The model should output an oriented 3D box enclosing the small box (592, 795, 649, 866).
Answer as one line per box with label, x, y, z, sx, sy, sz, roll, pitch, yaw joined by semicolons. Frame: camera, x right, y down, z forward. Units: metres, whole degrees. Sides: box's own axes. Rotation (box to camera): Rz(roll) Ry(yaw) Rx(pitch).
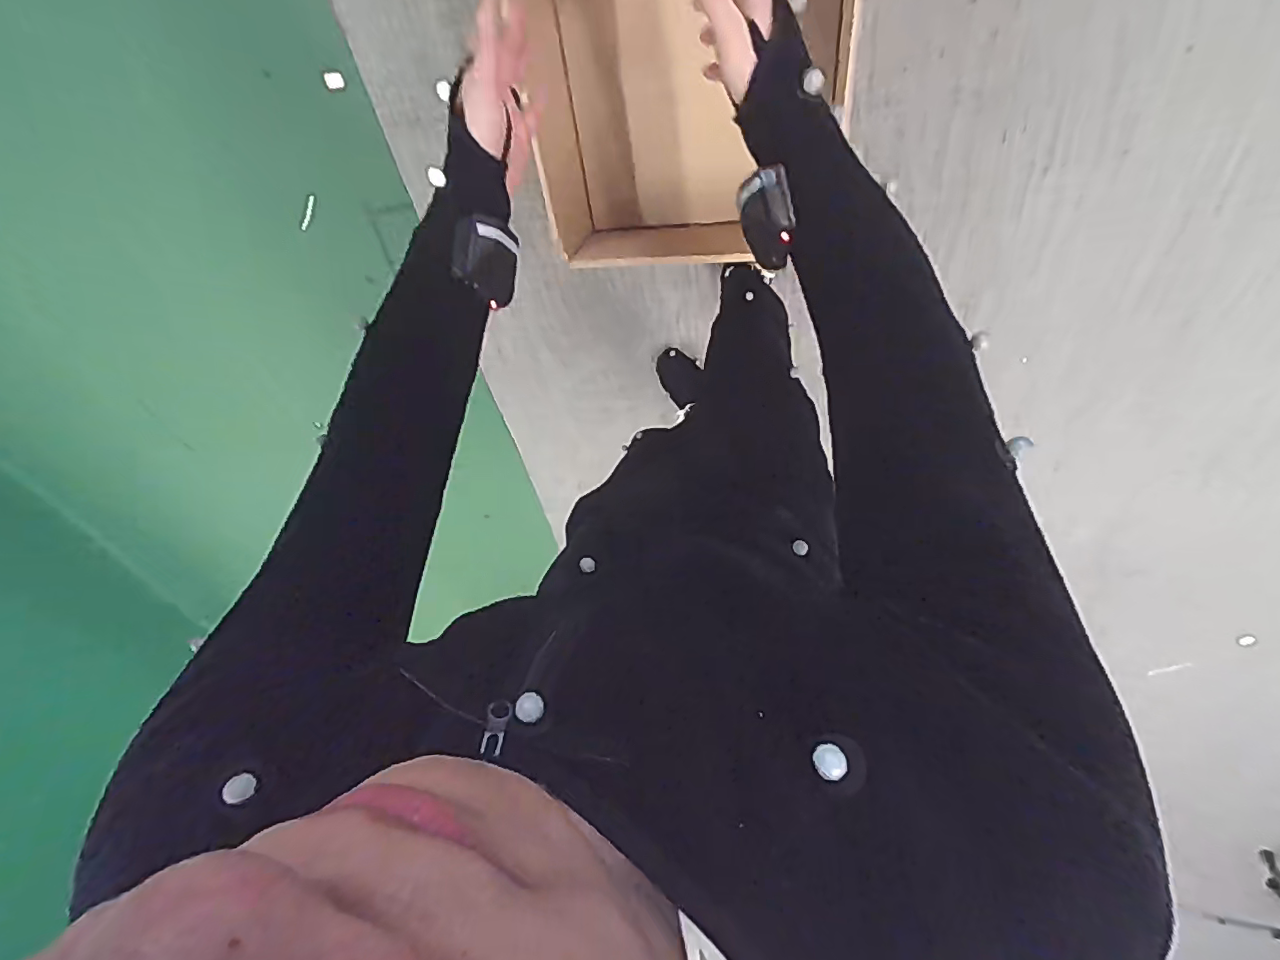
small box;-0.065;1.290;1.996;0.179;0.176;0.168;9;135;10
